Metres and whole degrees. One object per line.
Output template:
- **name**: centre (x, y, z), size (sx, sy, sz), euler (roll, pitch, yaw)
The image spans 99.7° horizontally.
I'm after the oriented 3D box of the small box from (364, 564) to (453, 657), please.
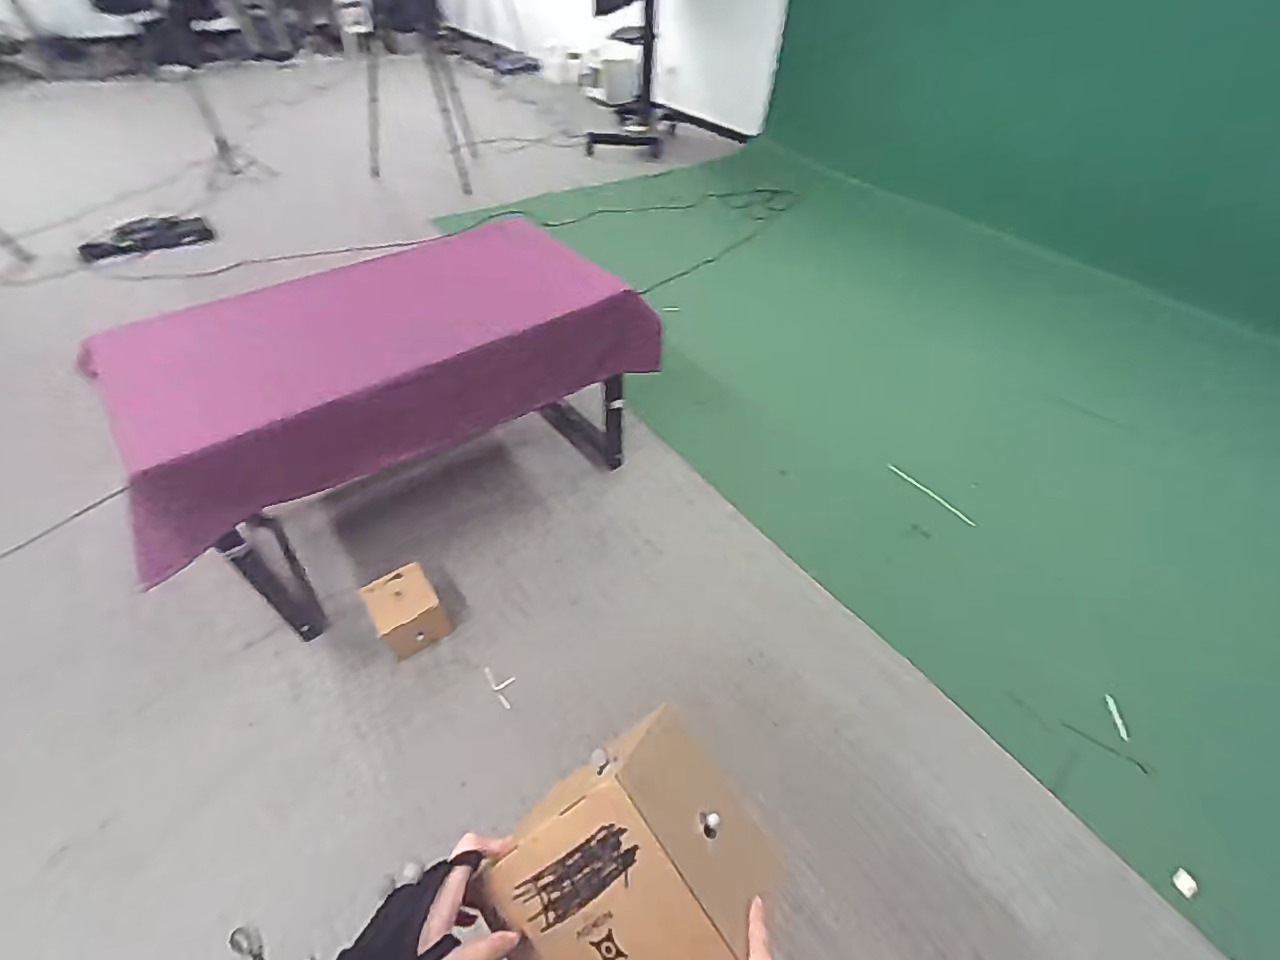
- **small box**: centre (-0.660, 0.384, 1.557), size (0.168, 0.176, 0.179), euler (-28, 55, -24)
